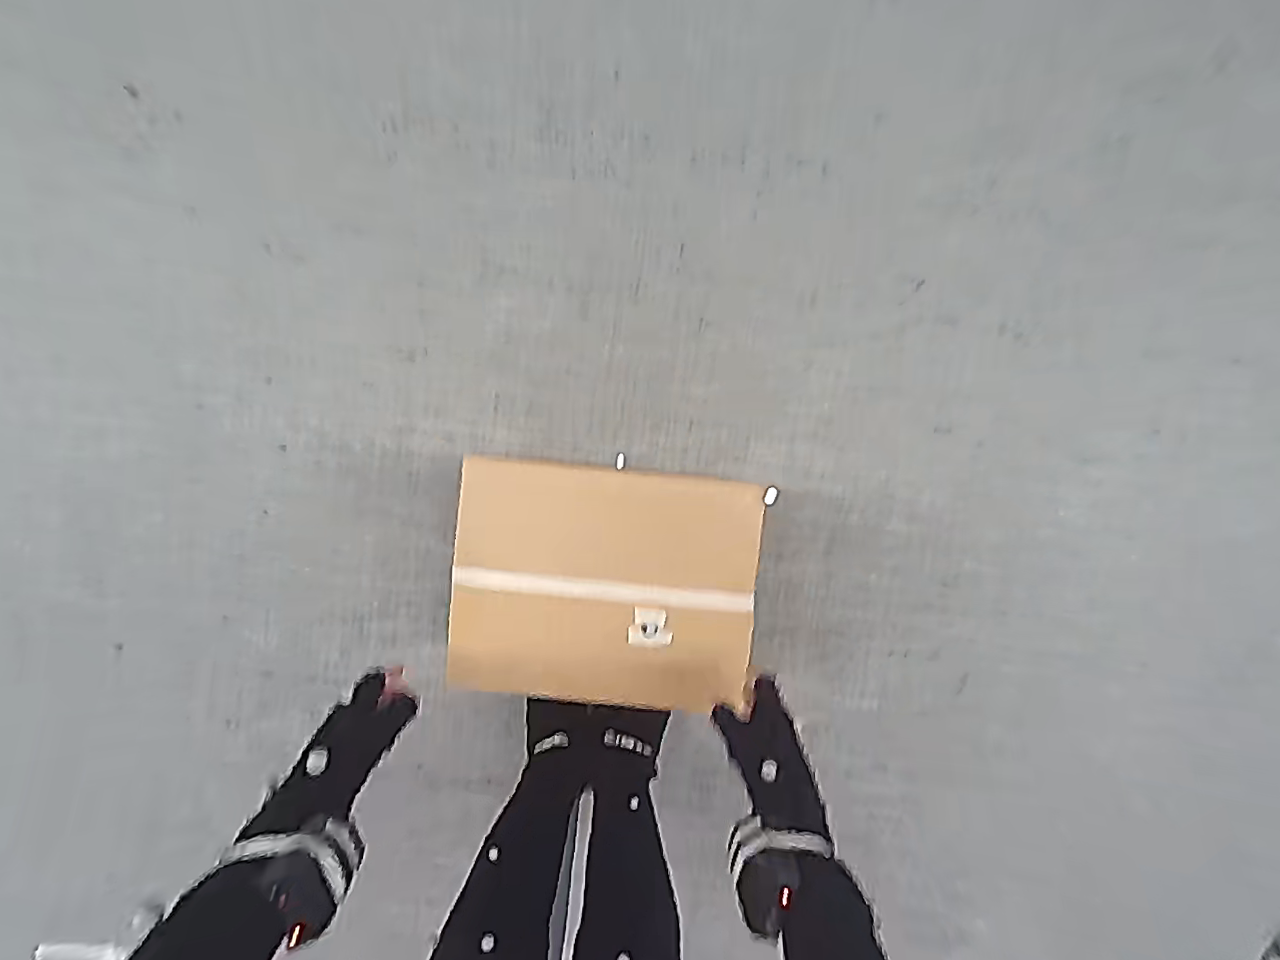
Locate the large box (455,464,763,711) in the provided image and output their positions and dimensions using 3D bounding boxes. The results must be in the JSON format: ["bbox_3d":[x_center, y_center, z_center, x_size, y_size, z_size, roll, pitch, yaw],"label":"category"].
[{"bbox_3d":[-0.046,0.145,0.881,0.408,0.320,0.320,6,92,-1],"label":"large box"}]
